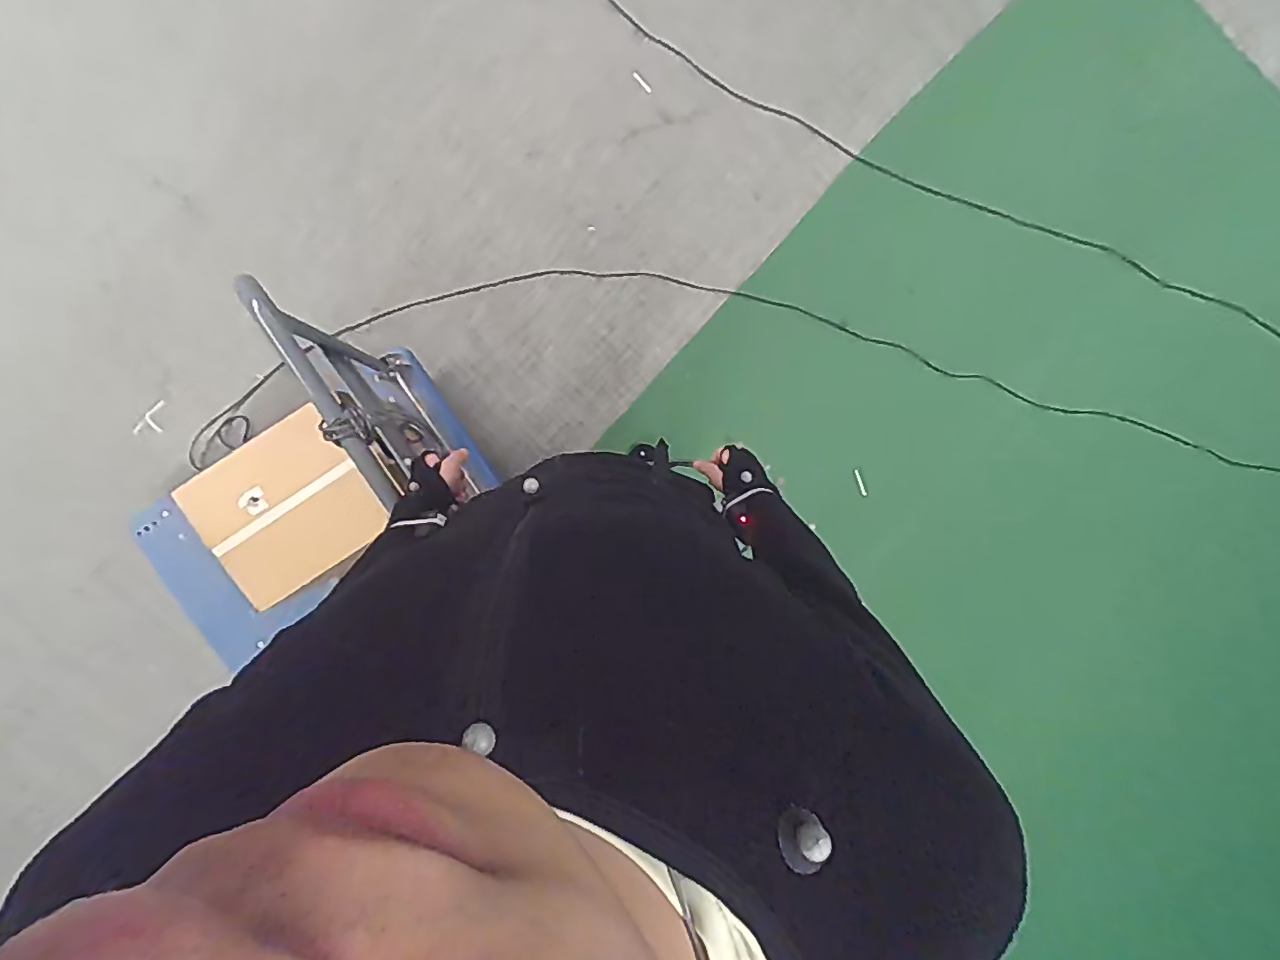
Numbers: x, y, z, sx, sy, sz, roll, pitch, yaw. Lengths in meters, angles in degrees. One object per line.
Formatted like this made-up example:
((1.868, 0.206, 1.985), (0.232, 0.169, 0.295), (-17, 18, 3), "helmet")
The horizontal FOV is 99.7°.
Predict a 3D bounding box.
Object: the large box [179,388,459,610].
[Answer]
((-0.715, 0.029, 1.275), (0.408, 0.320, 0.320), (-33, 94, 1), "large box")
